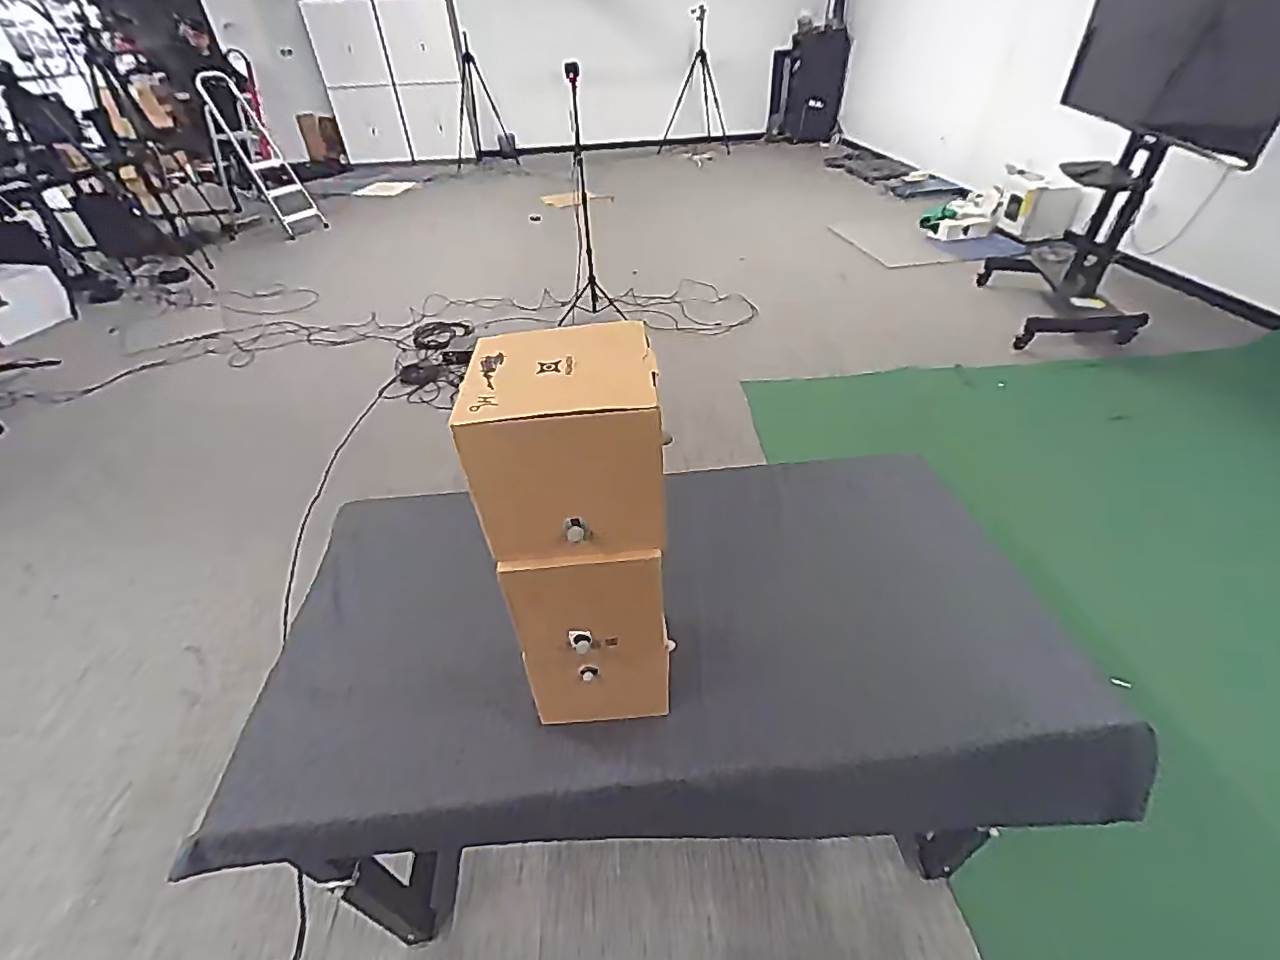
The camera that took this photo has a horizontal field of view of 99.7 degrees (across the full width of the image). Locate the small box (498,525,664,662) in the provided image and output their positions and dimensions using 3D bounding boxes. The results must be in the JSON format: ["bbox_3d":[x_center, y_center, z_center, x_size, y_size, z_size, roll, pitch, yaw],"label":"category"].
[{"bbox_3d":[-0.062,0.092,0.652,0.168,0.176,0.179,-6,41,0],"label":"small box"}]

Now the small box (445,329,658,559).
[{"bbox_3d":[-0.073,-0.036,0.552,0.179,0.176,0.168,-5,39,0],"label":"small box"}]

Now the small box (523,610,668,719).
[{"bbox_3d":[-0.054,0.216,0.756,0.179,0.176,0.168,-3,40,-1],"label":"small box"}]
